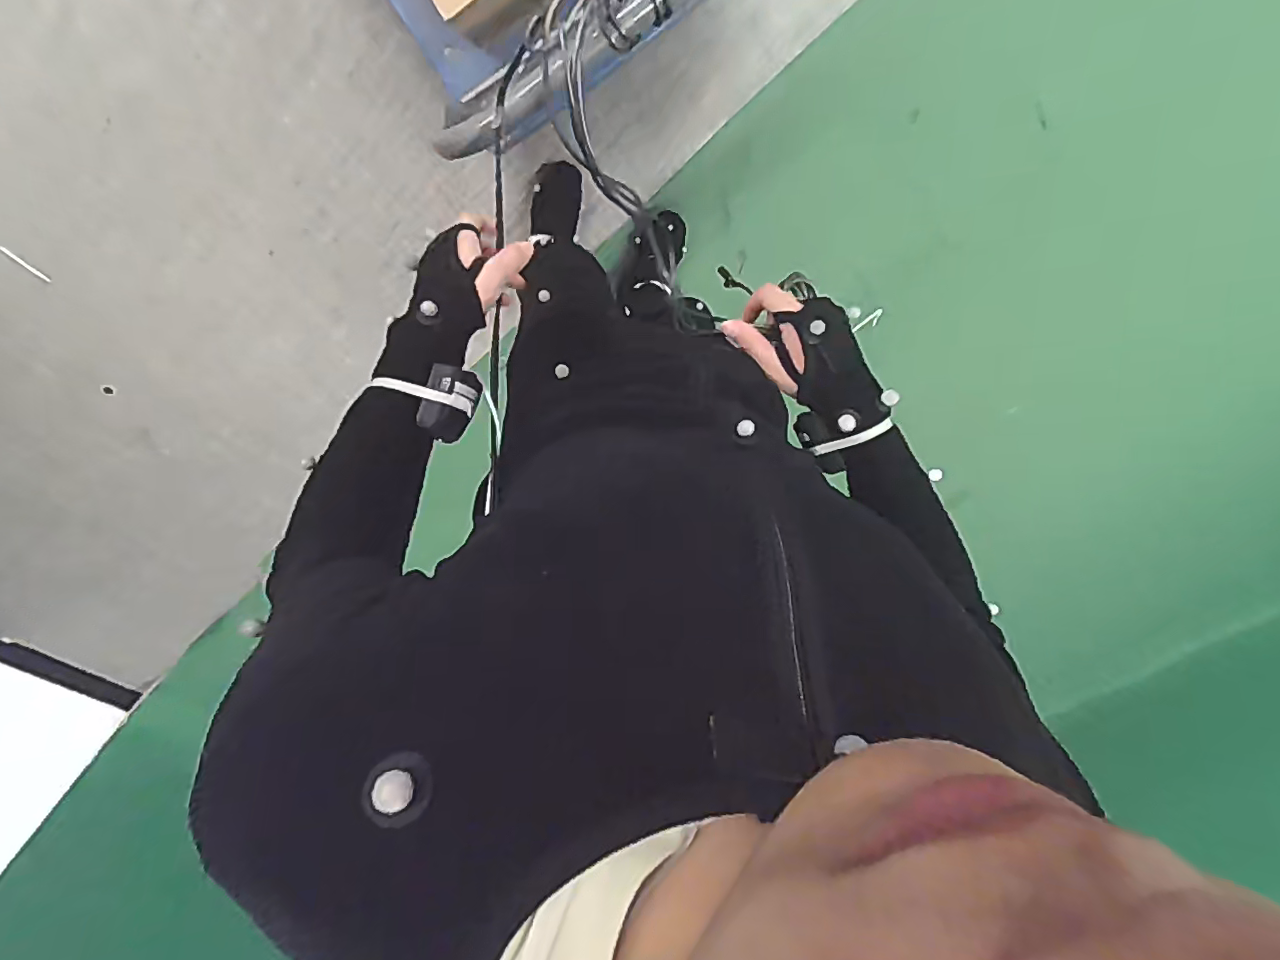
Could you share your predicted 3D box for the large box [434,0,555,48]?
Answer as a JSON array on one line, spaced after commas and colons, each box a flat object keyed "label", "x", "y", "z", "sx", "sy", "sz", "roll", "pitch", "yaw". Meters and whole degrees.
[{"label": "large box", "x": -0.242, "y": -0.944, "z": 0.772, "sx": 0.320, "sy": 0.320, "sz": 0.408, "roll": -26, "pitch": 120, "yaw": 12}]
